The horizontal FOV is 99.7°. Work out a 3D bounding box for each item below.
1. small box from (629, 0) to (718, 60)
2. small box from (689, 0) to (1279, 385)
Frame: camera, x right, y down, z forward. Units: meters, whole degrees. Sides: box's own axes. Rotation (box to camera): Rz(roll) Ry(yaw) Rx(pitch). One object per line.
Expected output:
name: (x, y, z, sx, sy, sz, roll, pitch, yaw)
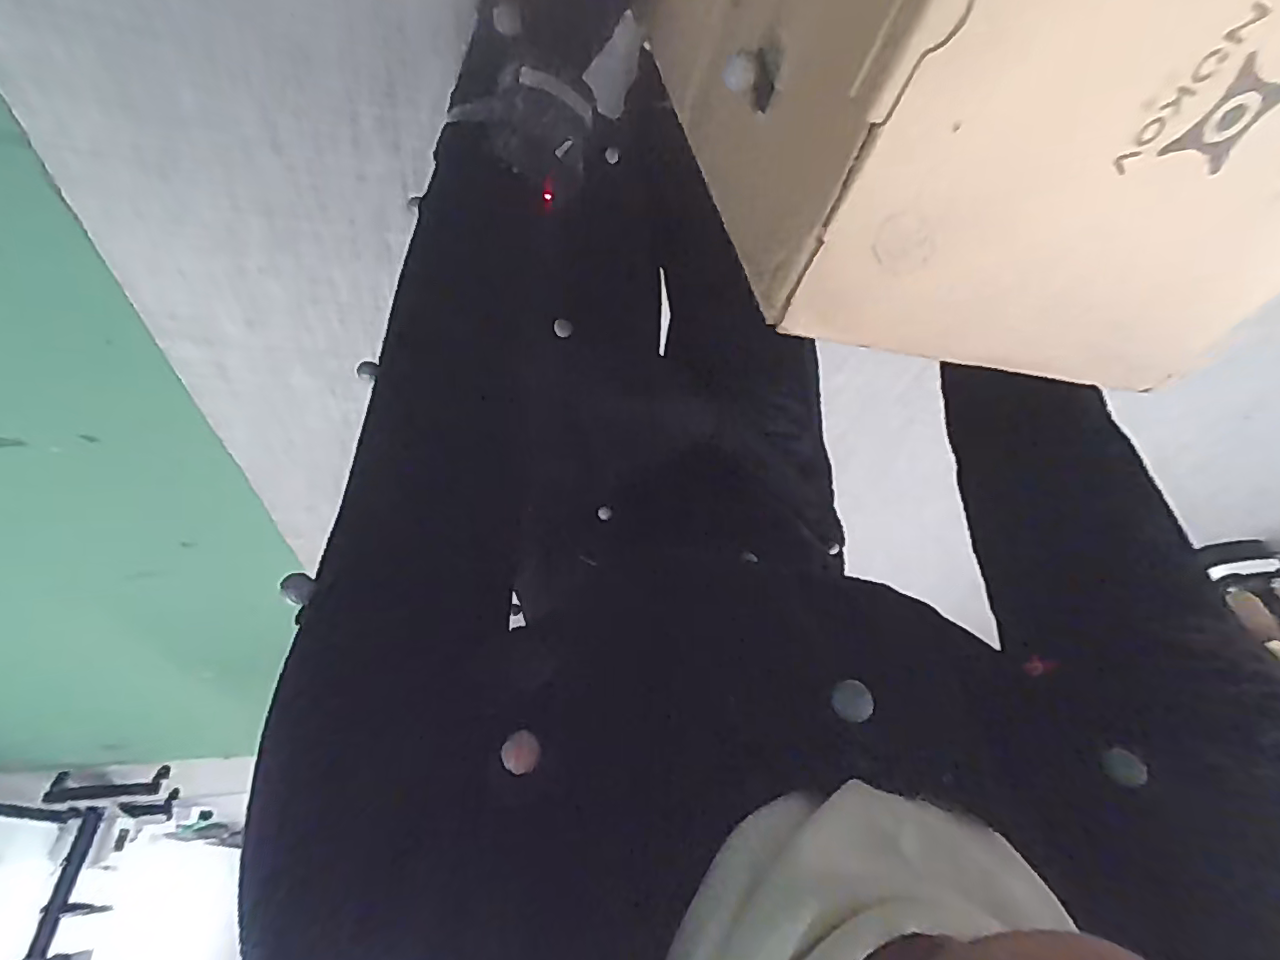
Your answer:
small box: (0.088, -0.417, 0.376, 0.168, 0.176, 0.179, 4, 143, -14)
small box: (0.129, -0.156, 0.183, 0.179, 0.176, 0.168, 2, 143, -15)
